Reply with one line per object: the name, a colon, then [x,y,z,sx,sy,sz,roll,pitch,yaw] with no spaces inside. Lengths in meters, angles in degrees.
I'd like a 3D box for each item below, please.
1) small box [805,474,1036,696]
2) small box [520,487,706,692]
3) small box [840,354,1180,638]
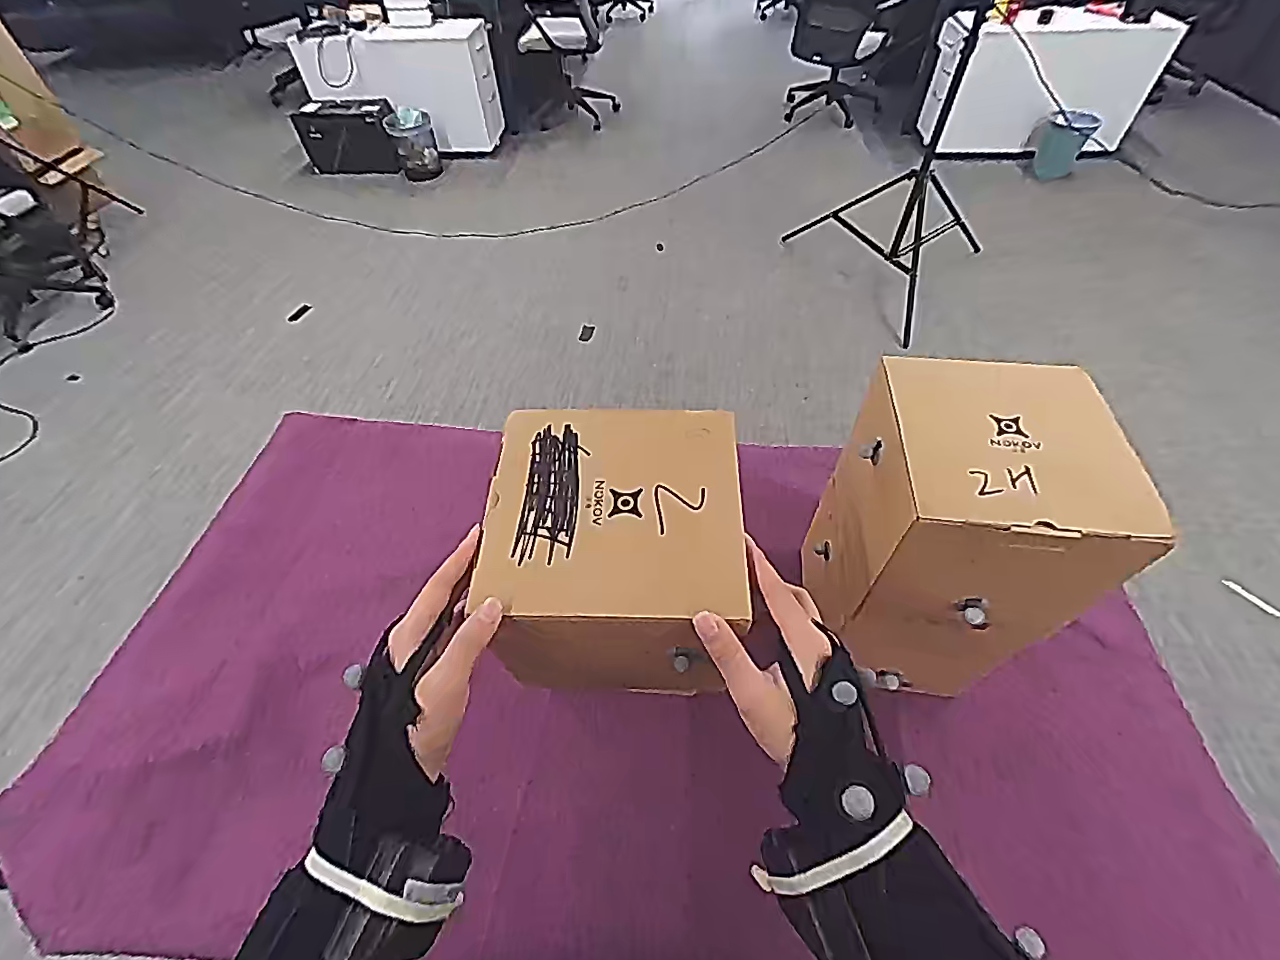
small box: [0.285,0.118,0.601,0.168,0.176,0.179,5,52,7]
small box: [-0.018,0.126,0.607,0.179,0.176,0.168,3,51,3]
small box: [0.283,0.015,0.472,0.168,0.176,0.179,5,52,7]
